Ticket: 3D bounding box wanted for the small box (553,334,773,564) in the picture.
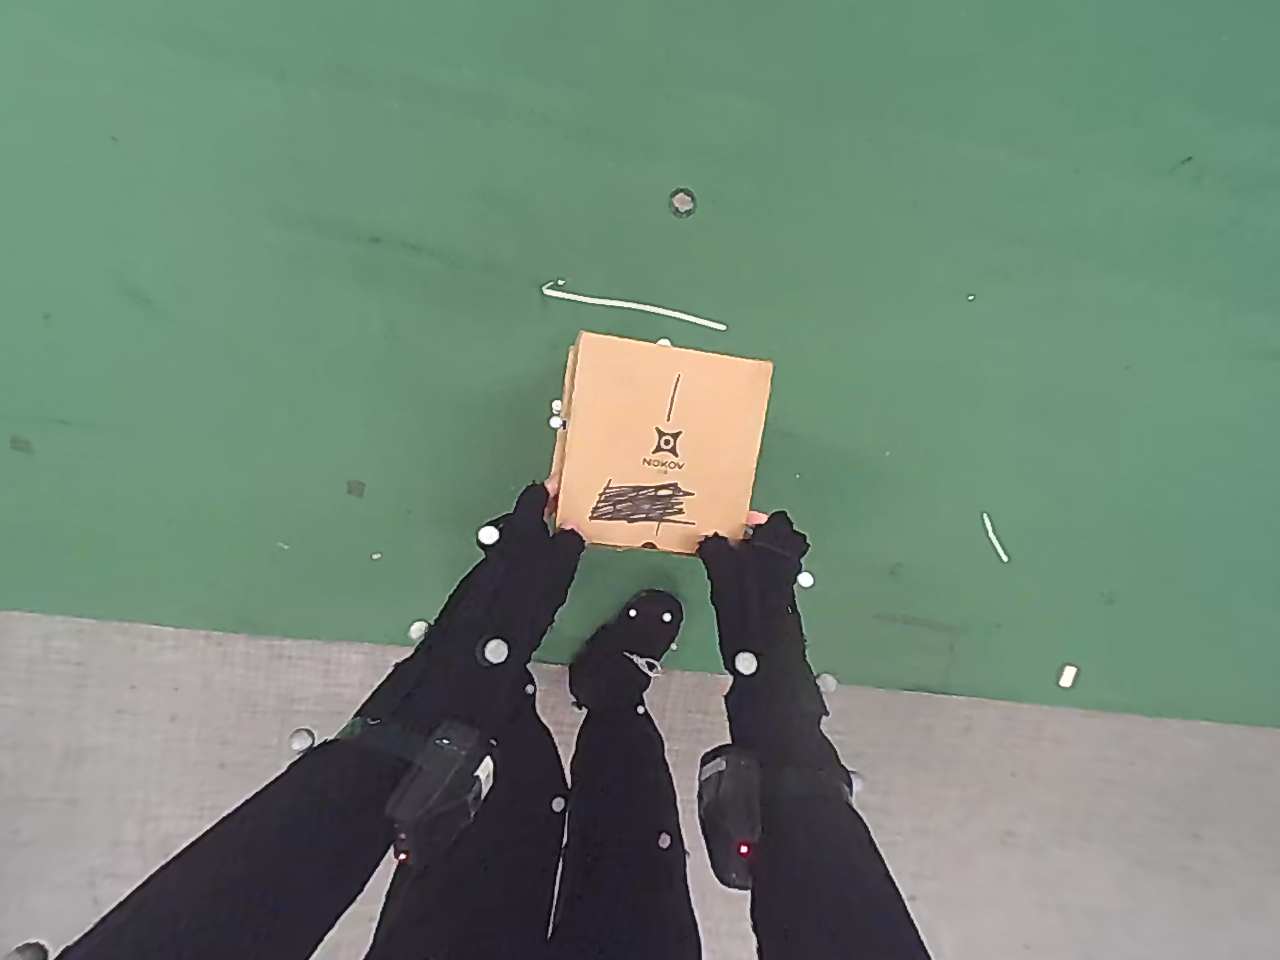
[{"bbox_3d":[0.010,-0.033,0.530,0.168,0.176,0.179,7,97,-9],"label":"small box"}]
